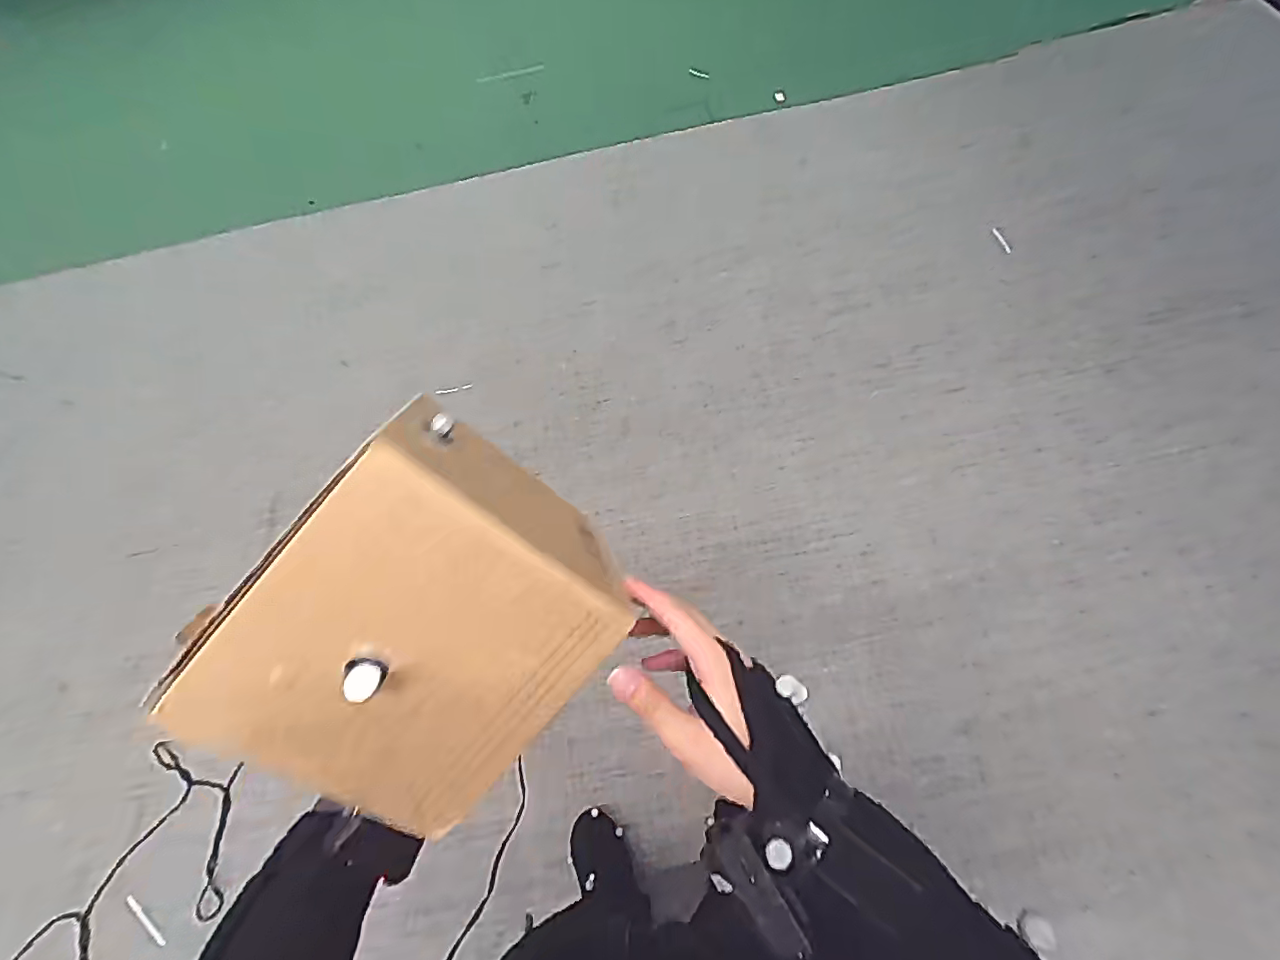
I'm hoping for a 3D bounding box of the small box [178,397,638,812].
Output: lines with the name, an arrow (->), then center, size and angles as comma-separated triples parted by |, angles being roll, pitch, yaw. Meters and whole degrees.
small box -> -0.129, 0.072, 0.359 | 0.176, 0.168, 0.179 | 40, 92, -21
